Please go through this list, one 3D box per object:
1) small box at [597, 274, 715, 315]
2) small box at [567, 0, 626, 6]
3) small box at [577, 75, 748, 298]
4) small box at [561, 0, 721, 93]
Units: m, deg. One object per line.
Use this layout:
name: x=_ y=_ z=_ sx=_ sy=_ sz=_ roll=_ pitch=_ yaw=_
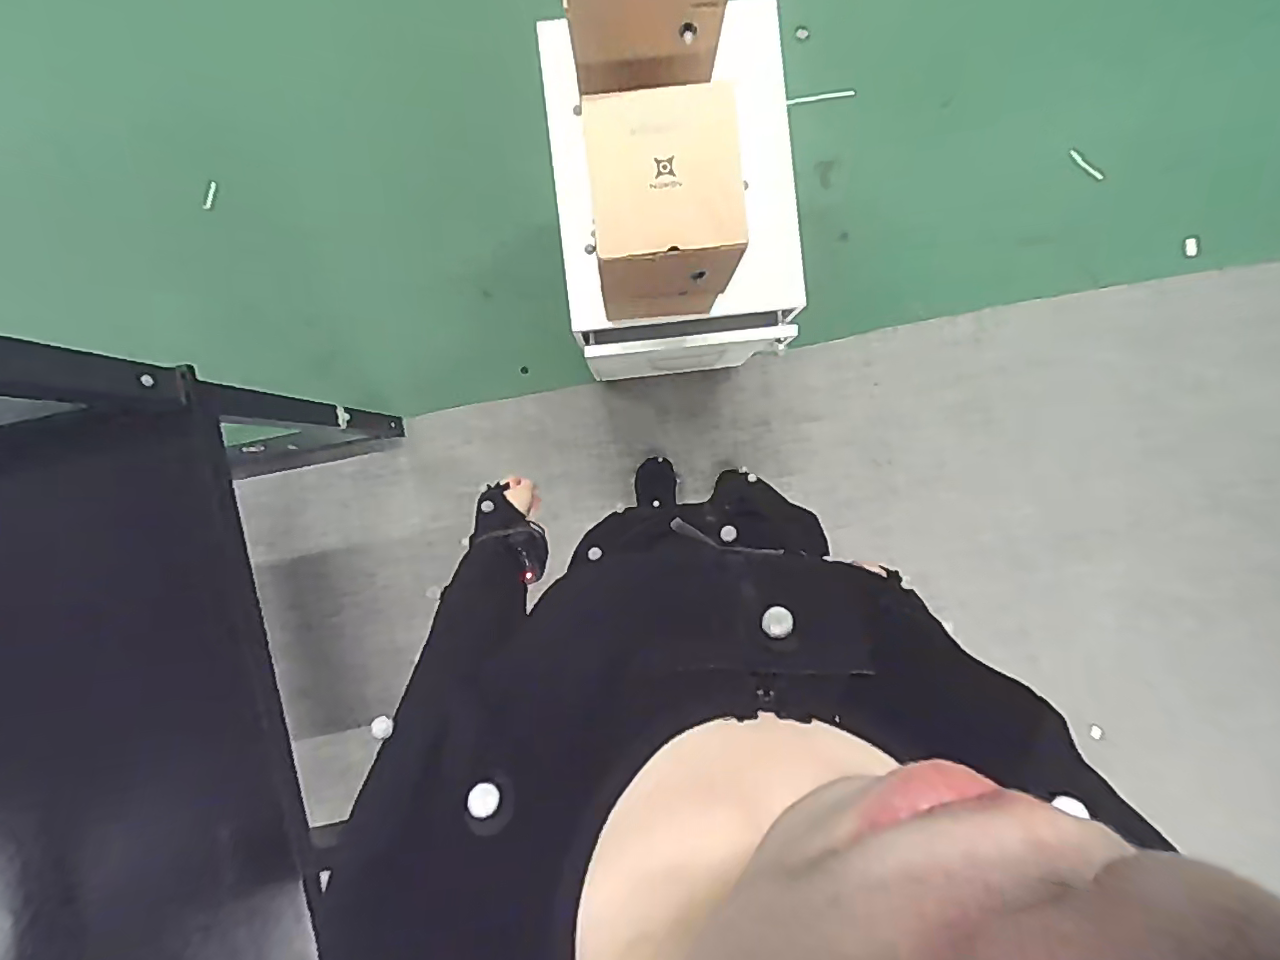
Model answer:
small box: x=0.025 y=-0.351 z=0.802 sx=0.179 sy=0.176 sz=0.168 roll=-4 pitch=91 yaw=-1
small box: x=-0.004 y=-0.564 z=0.468 sx=0.179 sy=0.176 sz=0.168 roll=-11 pitch=93 yaw=-1
small box: x=0.023 y=-0.327 z=0.641 sx=0.168 sy=0.176 sz=0.179 roll=-7 pitch=91 yaw=-2
small box: x=-0.002 y=-0.576 z=0.632 sx=0.179 sy=0.176 sz=0.168 roll=-3 pitch=92 yaw=-2
